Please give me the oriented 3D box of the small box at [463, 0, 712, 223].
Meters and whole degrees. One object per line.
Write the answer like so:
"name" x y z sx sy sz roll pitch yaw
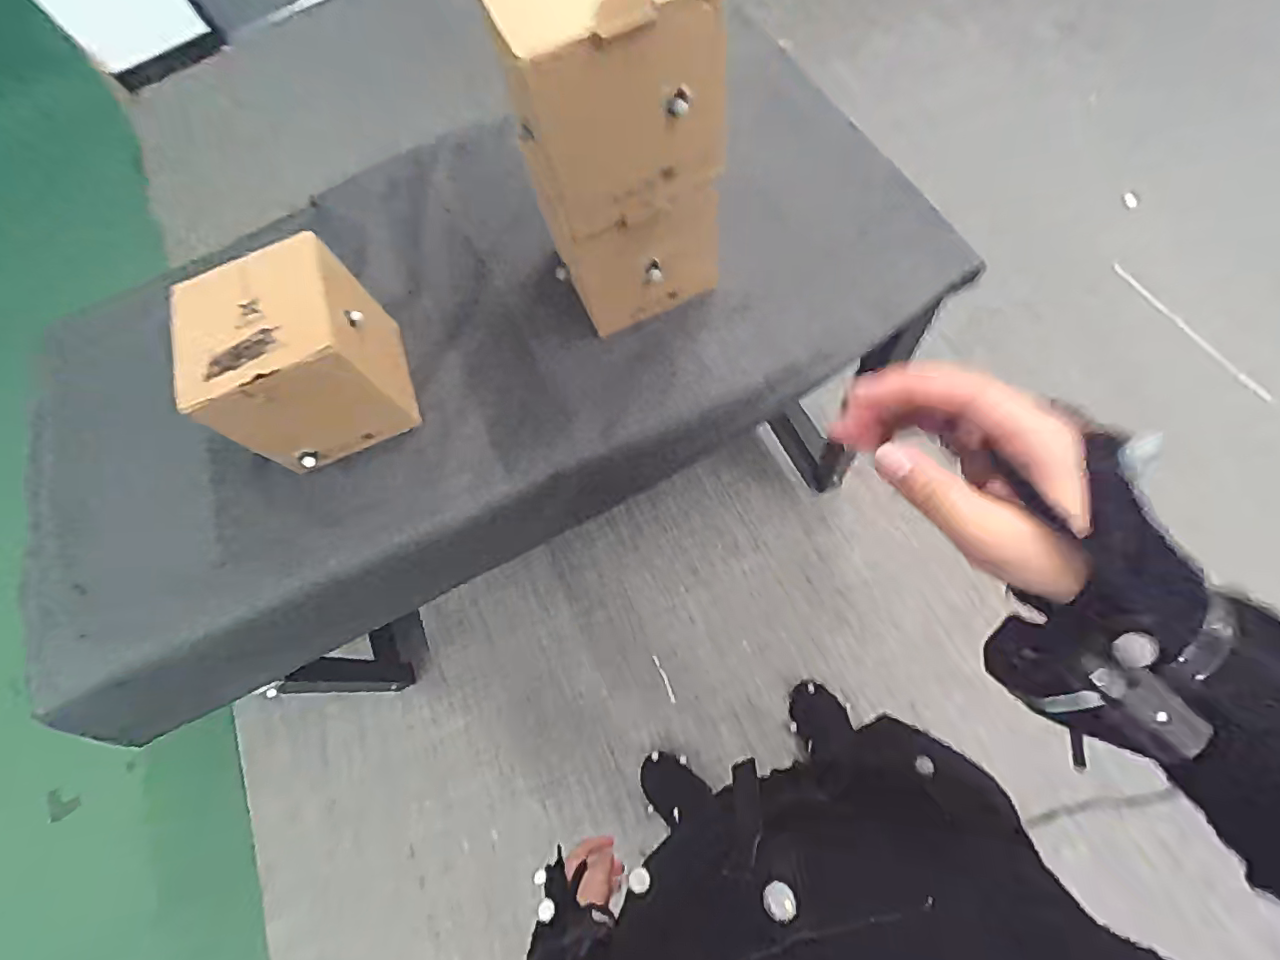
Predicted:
"small box" -0.041 -0.370 0.497 0.168 0.176 0.179 -25 67 -2

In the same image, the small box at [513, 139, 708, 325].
"small box" -0.025 -0.313 0.649 0.168 0.176 0.179 -25 68 -1

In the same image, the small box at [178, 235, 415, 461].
"small box" -0.393 -0.140 0.639 0.168 0.176 0.179 -23 66 -1
